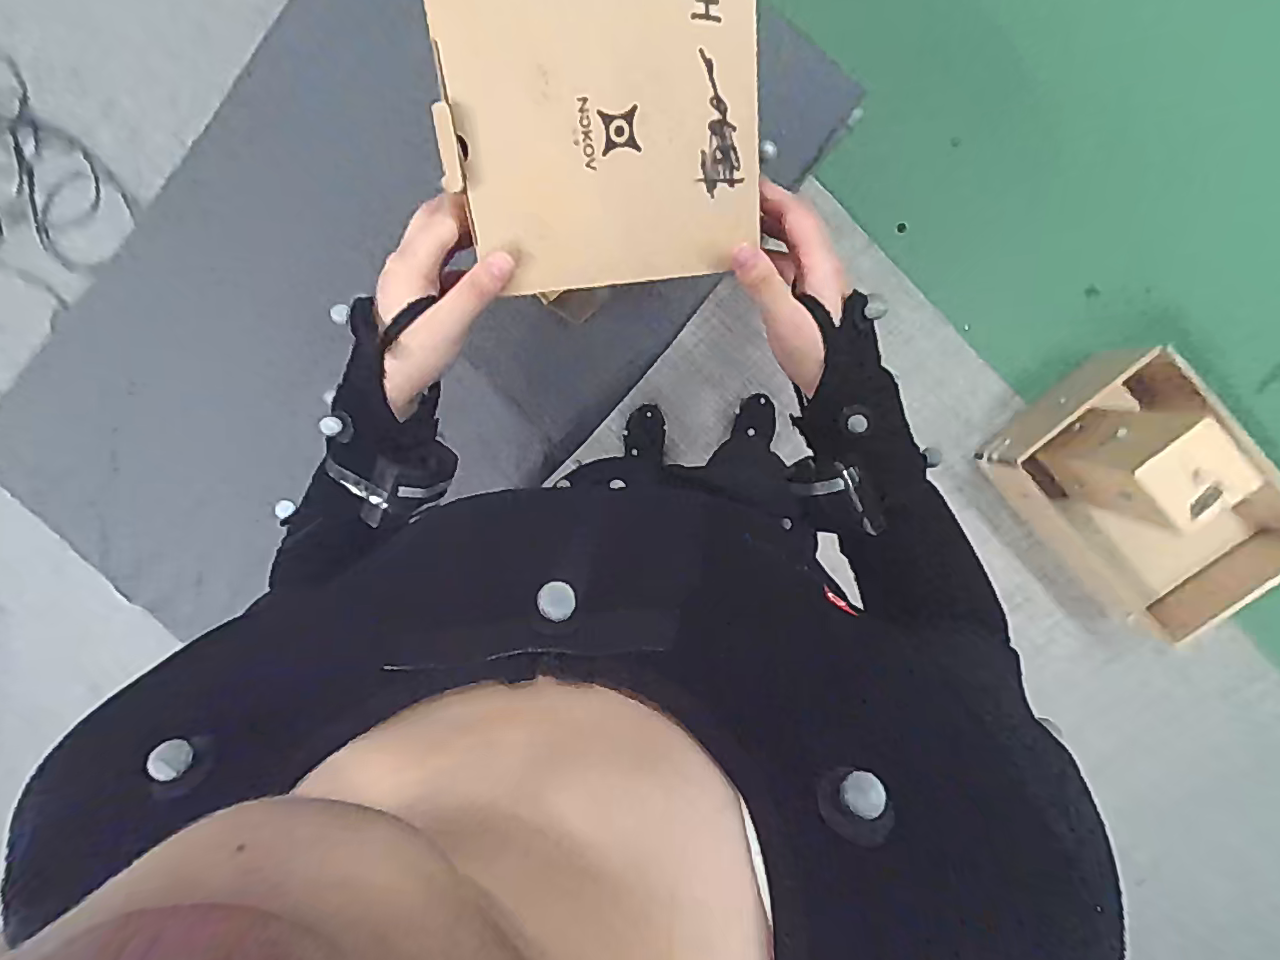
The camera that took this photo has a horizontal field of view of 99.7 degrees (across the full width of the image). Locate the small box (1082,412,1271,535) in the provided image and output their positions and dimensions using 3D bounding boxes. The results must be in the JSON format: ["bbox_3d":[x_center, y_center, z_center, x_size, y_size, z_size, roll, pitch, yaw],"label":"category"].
[{"bbox_3d":[1.065,-0.023,1.090,0.168,0.176,0.179,-43,94,10],"label":"small box"}]

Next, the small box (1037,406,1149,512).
[{"bbox_3d":[1.080,-0.056,1.250,0.168,0.176,0.179,-44,96,11],"label":"small box"}]

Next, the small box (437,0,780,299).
[{"bbox_3d":[-0.009,-0.219,0.367,0.179,0.176,0.168,-4,114,3],"label":"small box"}]

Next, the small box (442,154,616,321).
[{"bbox_3d":[-0.075,-0.300,0.604,0.179,0.176,0.168,-42,94,9],"label":"small box"}]
